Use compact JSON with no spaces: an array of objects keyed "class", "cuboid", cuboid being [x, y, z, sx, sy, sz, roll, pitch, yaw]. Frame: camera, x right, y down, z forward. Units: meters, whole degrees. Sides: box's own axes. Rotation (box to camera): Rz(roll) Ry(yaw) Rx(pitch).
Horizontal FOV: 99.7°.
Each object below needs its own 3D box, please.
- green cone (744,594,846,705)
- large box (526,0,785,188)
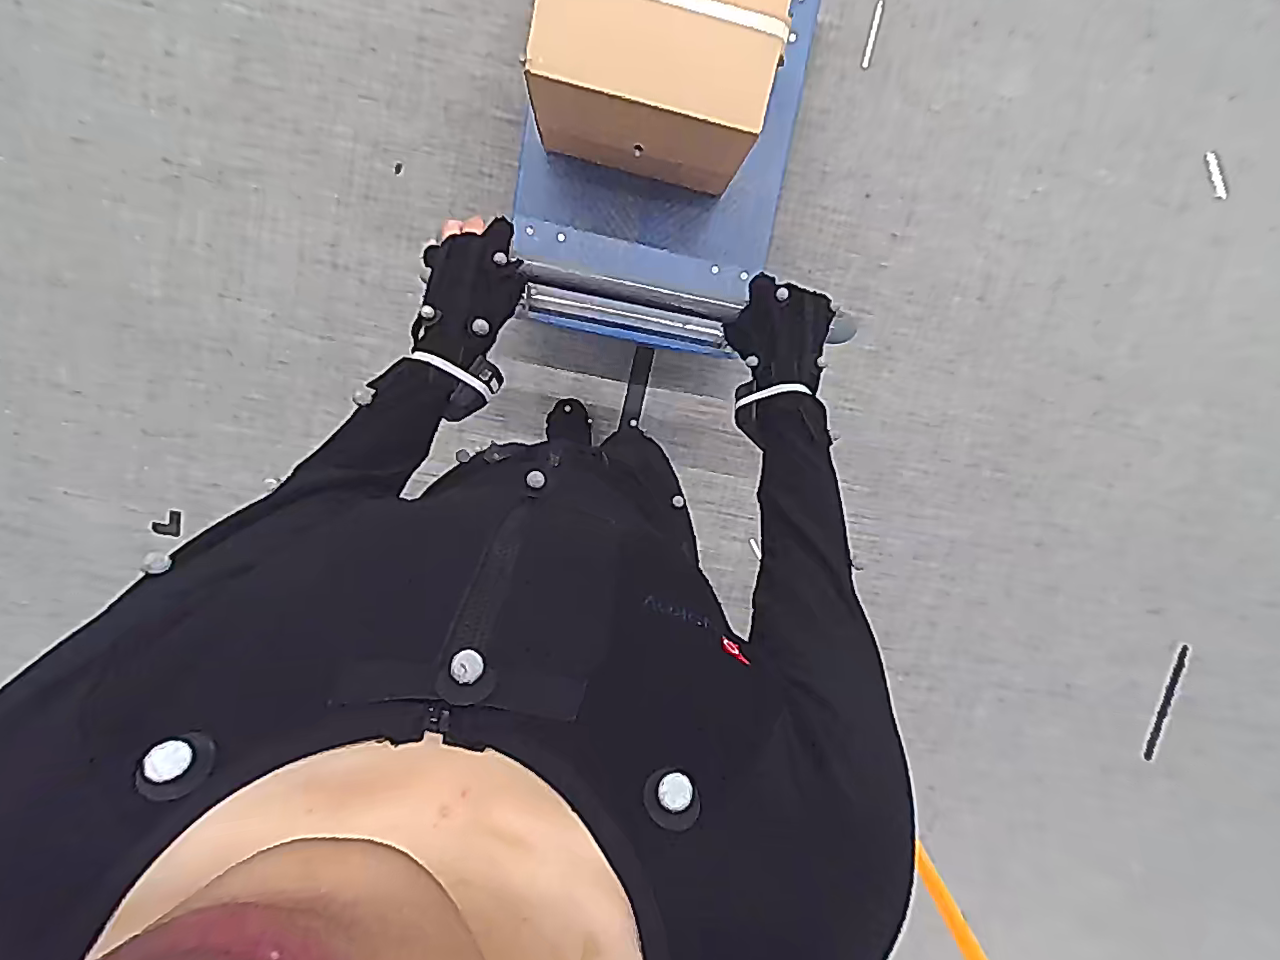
[{"class":"green cone","cuboid":[0.431,0.470,1.408,0.202,0.368,0.200,15,98,-7]},{"class":"large box","cuboid":[0.029,-0.802,1.026,0.408,0.320,0.320,12,99,-5]}]
